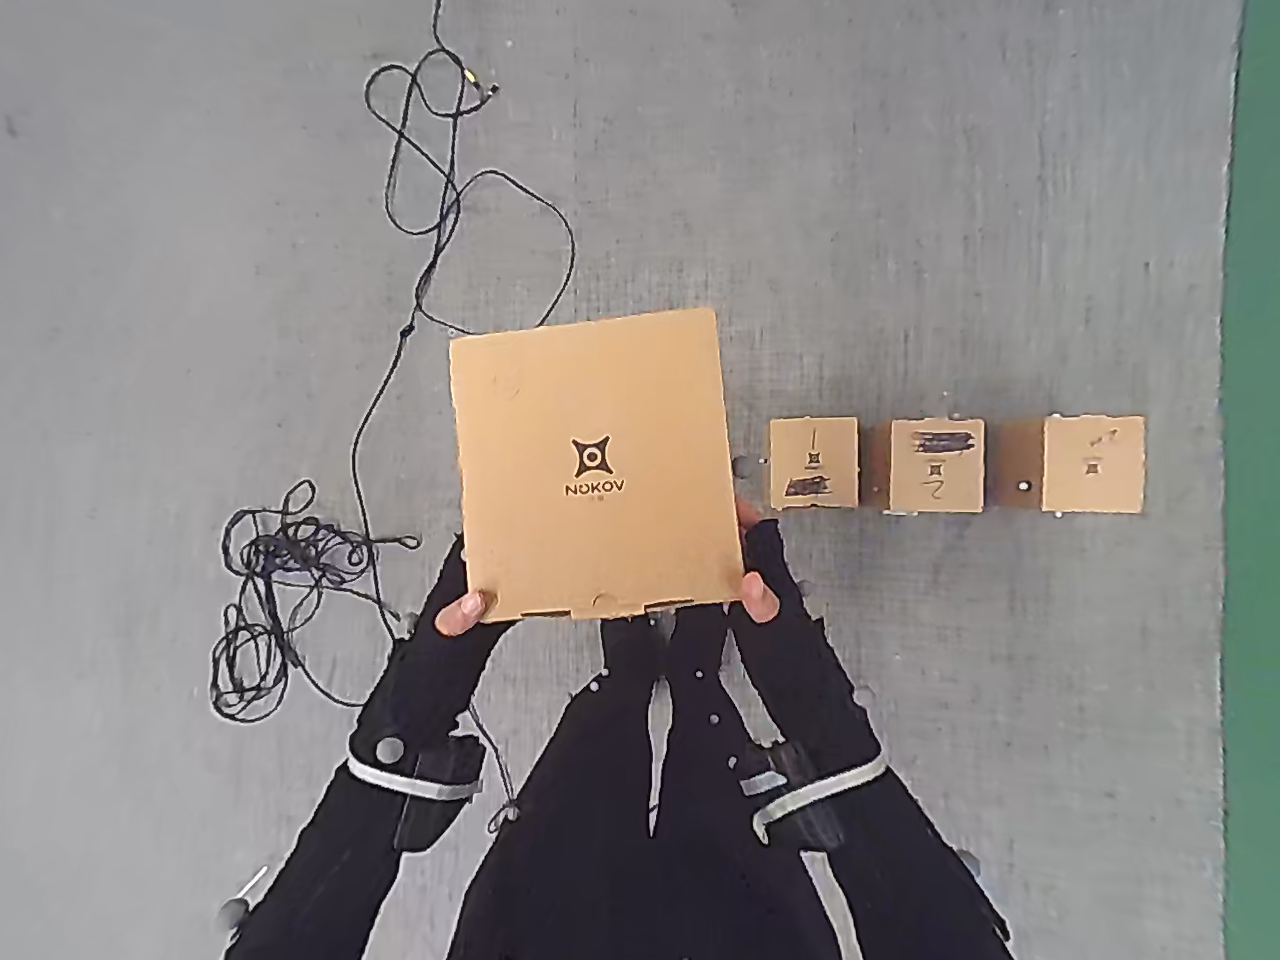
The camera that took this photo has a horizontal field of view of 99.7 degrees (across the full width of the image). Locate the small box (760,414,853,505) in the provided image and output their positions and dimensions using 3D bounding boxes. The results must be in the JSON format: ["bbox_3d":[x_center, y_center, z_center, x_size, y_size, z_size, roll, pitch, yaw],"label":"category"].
[{"bbox_3d":[0.338,-0.039,1.117,0.168,0.176,0.179,-1,89,9],"label":"small box"}]

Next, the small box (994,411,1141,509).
[{"bbox_3d":[0.814,-0.039,1.047,0.168,0.176,0.179,0,90,8],"label":"small box"}]

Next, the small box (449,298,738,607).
[{"bbox_3d":[-0.025,-0.012,0.406,0.168,0.176,0.179,-7,87,5],"label":"small box"}]
